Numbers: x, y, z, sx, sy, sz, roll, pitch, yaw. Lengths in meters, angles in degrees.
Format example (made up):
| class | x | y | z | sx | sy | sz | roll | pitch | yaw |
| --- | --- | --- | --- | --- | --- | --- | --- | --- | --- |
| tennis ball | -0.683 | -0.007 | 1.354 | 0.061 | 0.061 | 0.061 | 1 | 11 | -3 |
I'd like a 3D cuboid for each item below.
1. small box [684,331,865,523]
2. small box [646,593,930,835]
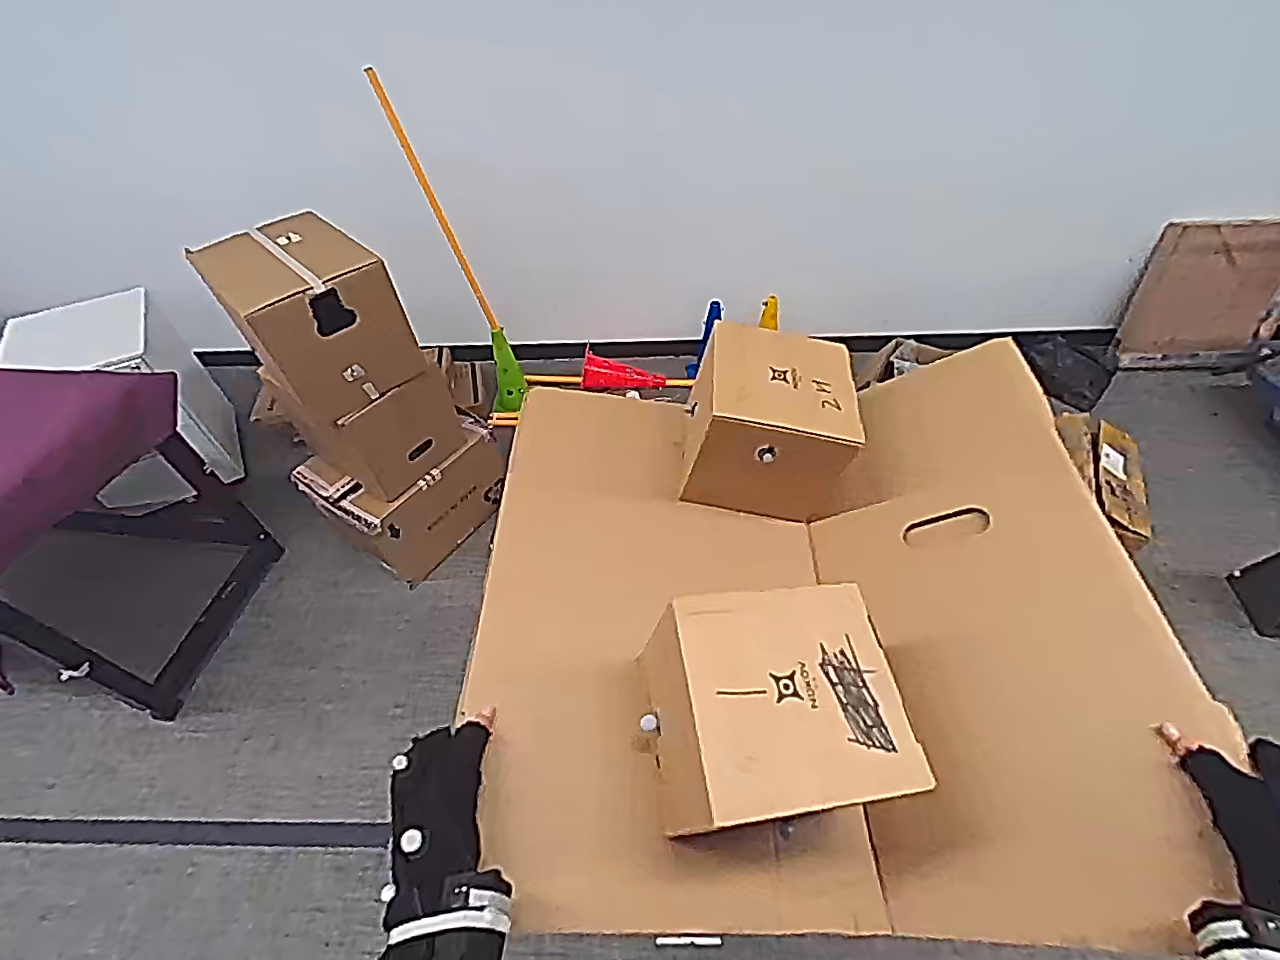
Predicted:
| class | x | y | z | sx | sy | sz | roll | pitch | yaw |
| --- | --- | --- | --- | --- | --- | --- | --- | --- | --- |
| small box | 0.161 | -0.062 | 0.702 | 0.179 | 0.176 | 0.168 | 11 | 54 | -4 |
| small box | 0.112 | 0.216 | 0.495 | 0.179 | 0.176 | 0.168 | -2 | 55 | -11 |
